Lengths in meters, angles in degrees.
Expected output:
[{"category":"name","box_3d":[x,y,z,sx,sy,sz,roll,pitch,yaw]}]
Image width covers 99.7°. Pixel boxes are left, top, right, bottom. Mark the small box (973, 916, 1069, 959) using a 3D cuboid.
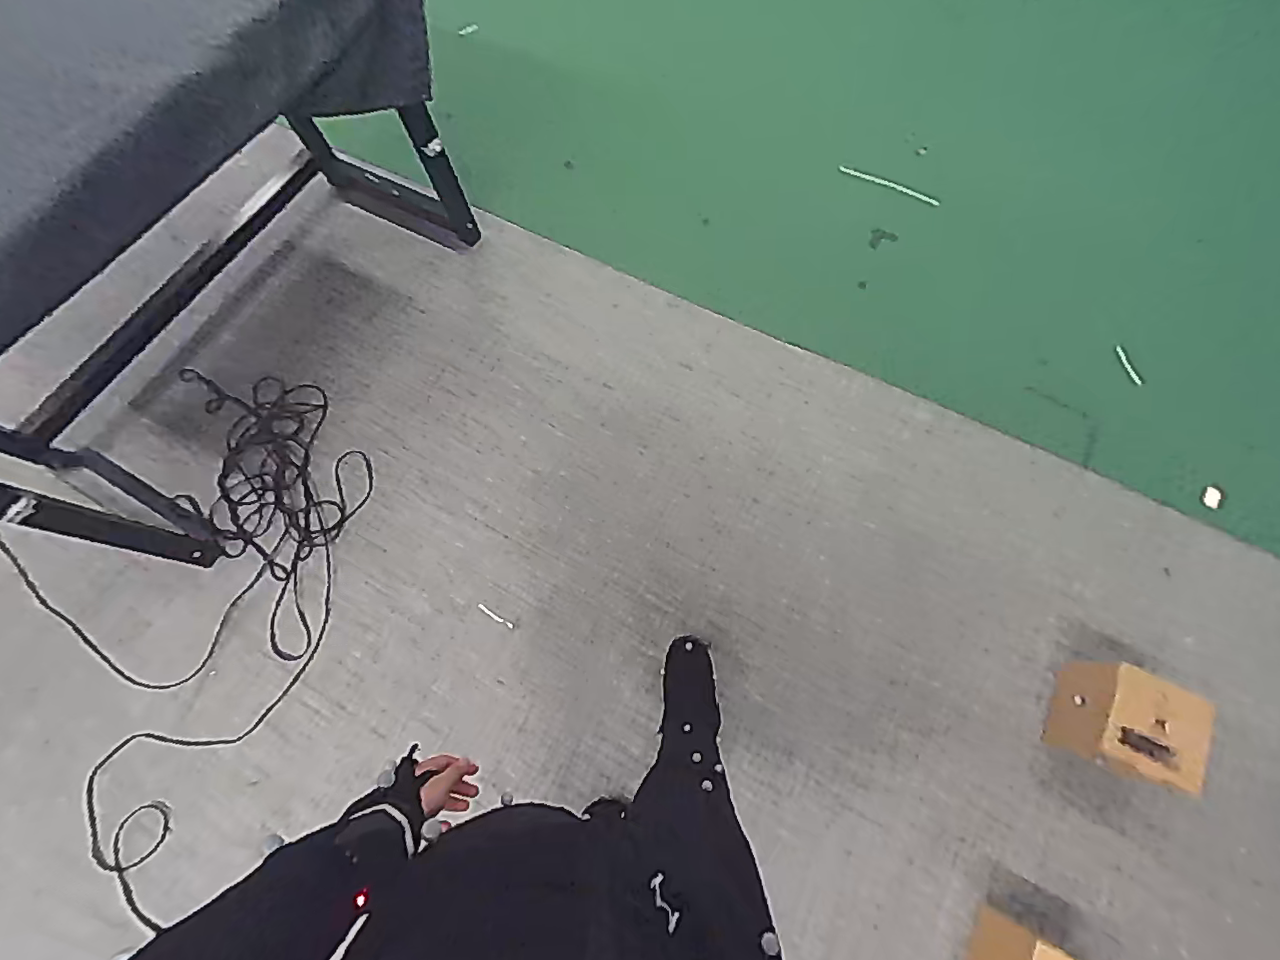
[{"category":"small box","box_3d":[0.679,0.891,0.907,0.168,0.176,0.179,25,74,11]}]
